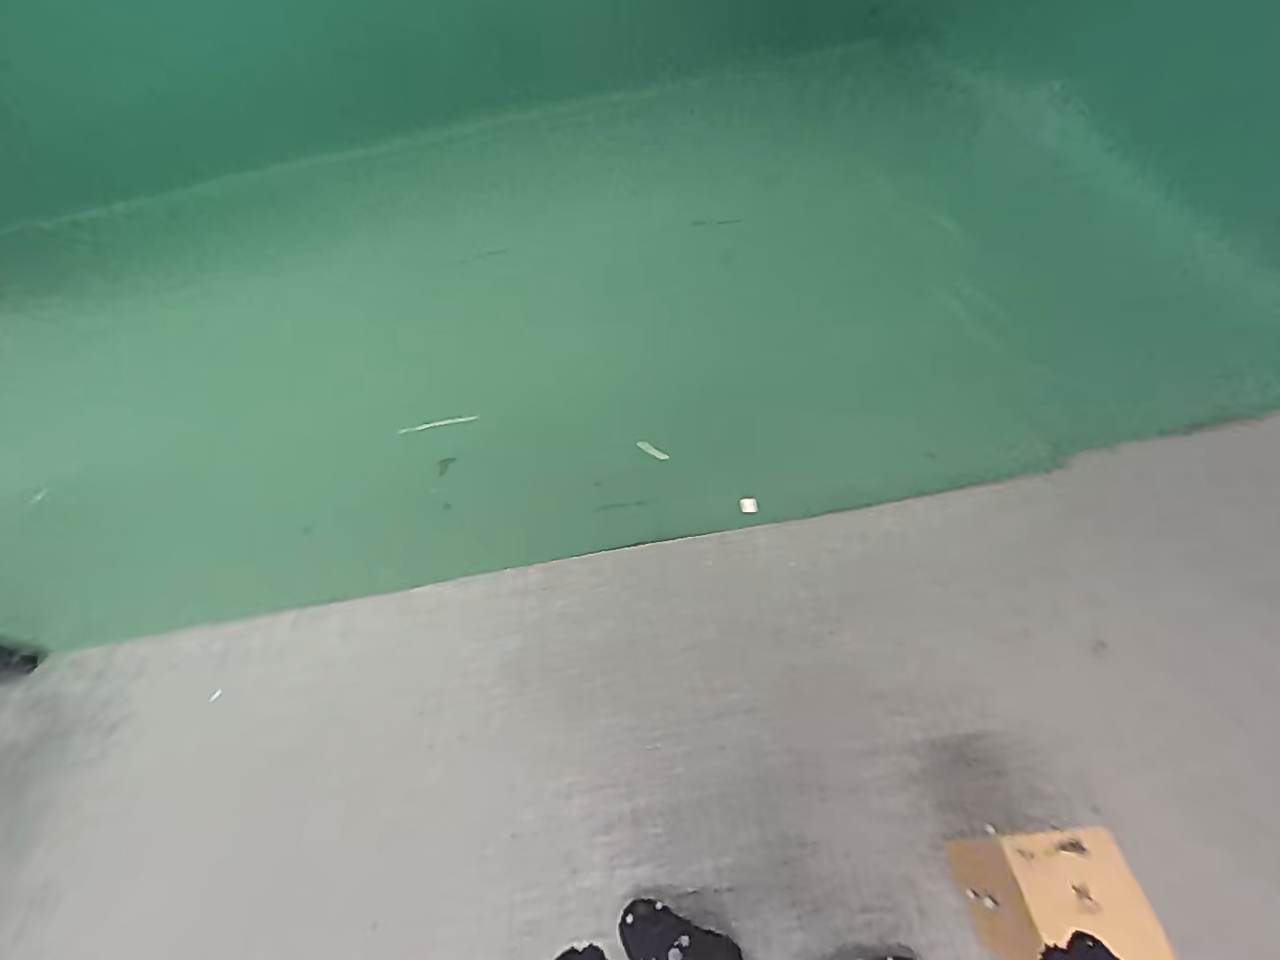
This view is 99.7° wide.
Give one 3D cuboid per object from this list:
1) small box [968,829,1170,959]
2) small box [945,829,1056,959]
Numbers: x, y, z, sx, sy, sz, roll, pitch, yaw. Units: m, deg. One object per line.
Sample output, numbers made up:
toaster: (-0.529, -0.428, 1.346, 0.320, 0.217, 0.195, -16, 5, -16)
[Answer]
small box: (0.665, 0.669, 0.863, 0.168, 0.176, 0.179, -9, 55, 4)
small box: (0.699, 0.759, 0.994, 0.168, 0.176, 0.179, -10, 53, 3)
